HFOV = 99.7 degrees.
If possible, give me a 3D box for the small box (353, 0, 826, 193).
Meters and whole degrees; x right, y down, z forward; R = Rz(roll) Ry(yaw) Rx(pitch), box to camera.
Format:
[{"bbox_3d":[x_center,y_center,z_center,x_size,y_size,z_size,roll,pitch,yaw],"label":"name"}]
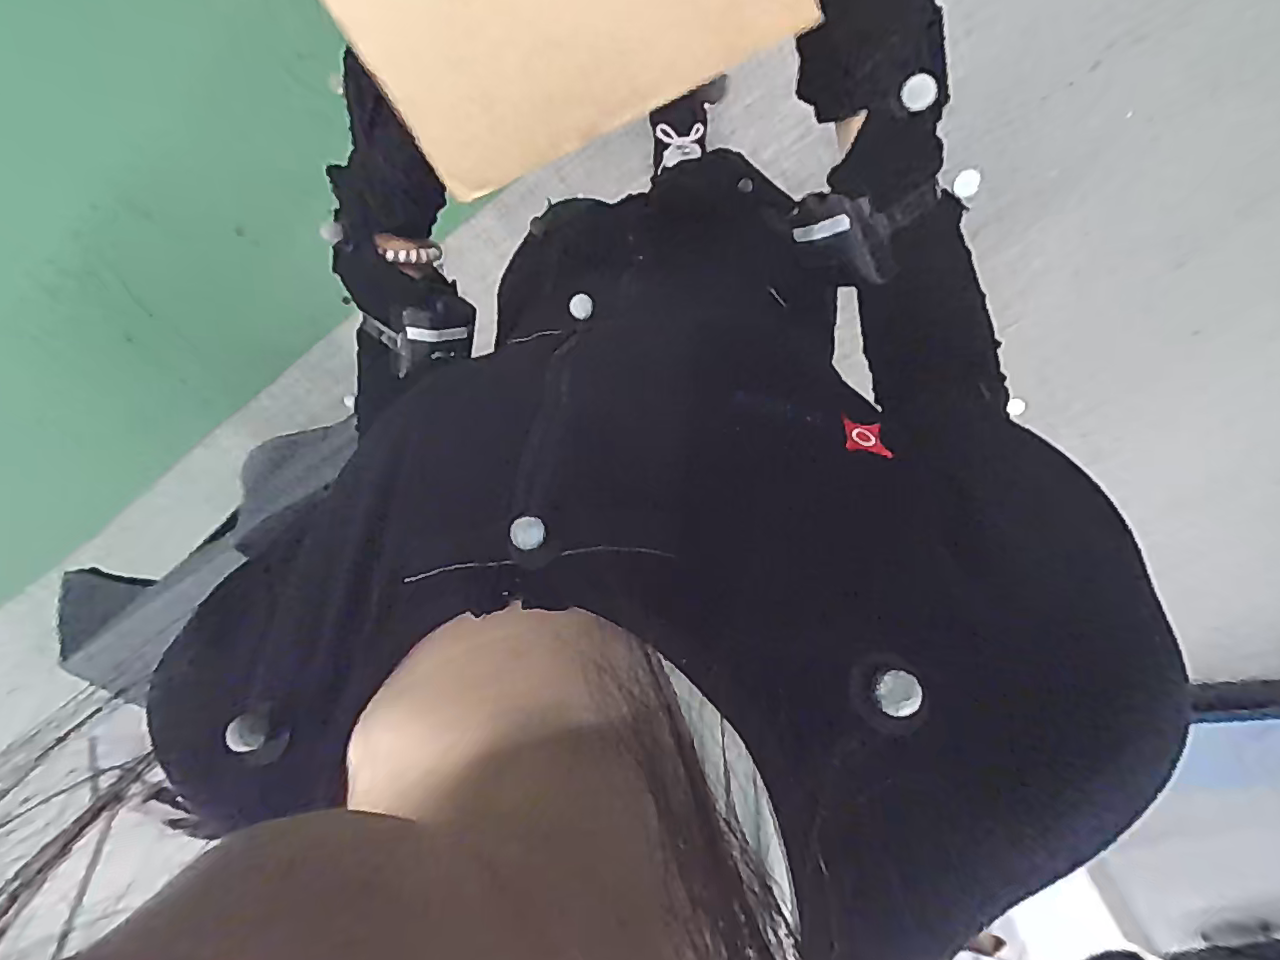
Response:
[{"bbox_3d":[-0.032,-0.273,0.241,0.179,0.176,0.168,-14,135,20],"label":"small box"}]
